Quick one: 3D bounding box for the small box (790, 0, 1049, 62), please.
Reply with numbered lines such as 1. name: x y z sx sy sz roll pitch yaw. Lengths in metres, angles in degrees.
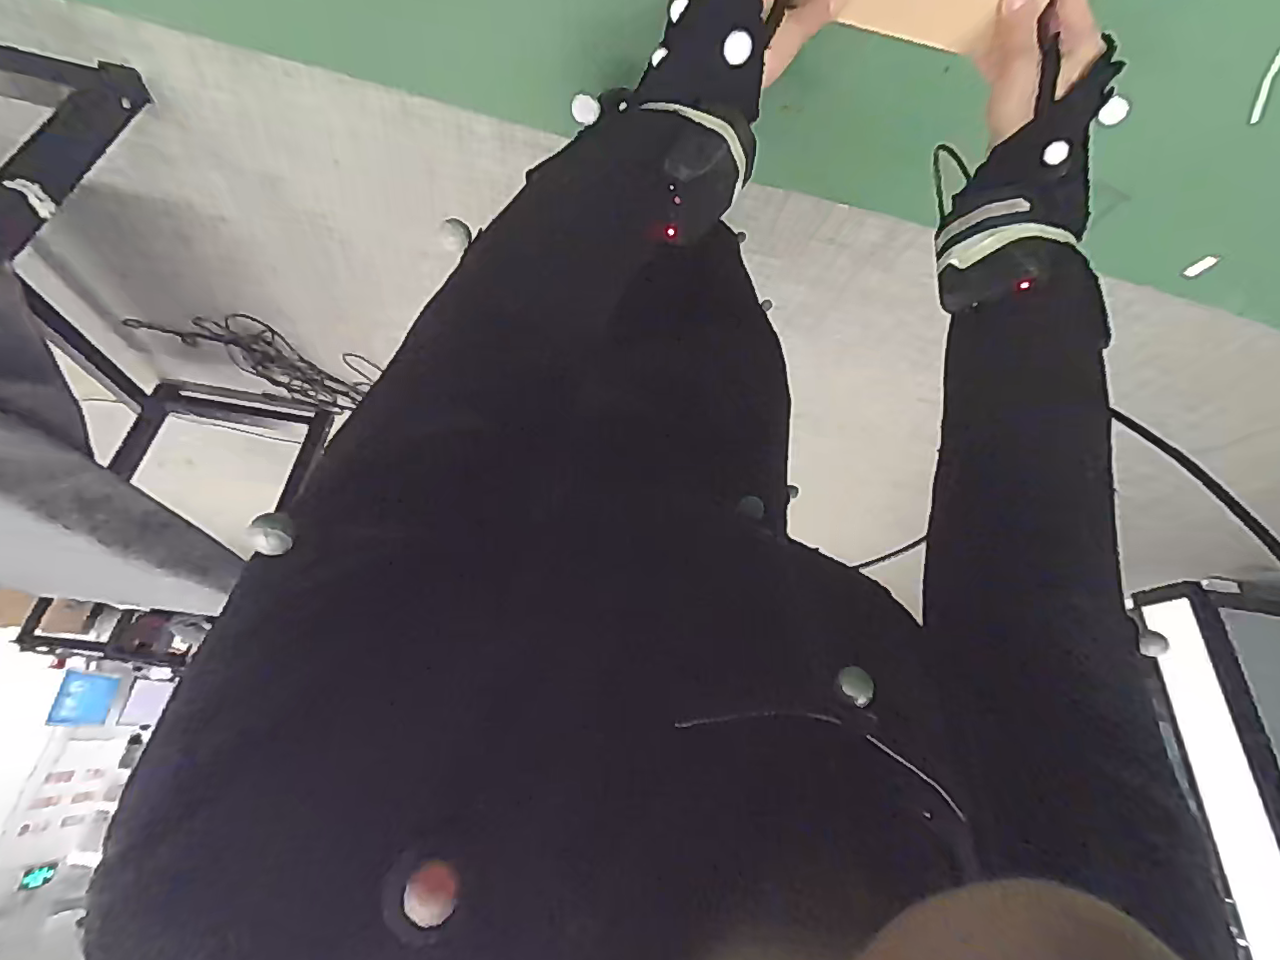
1. small box: 0.202 -0.418 0.337 0.168 0.176 0.179 11 152 -3
